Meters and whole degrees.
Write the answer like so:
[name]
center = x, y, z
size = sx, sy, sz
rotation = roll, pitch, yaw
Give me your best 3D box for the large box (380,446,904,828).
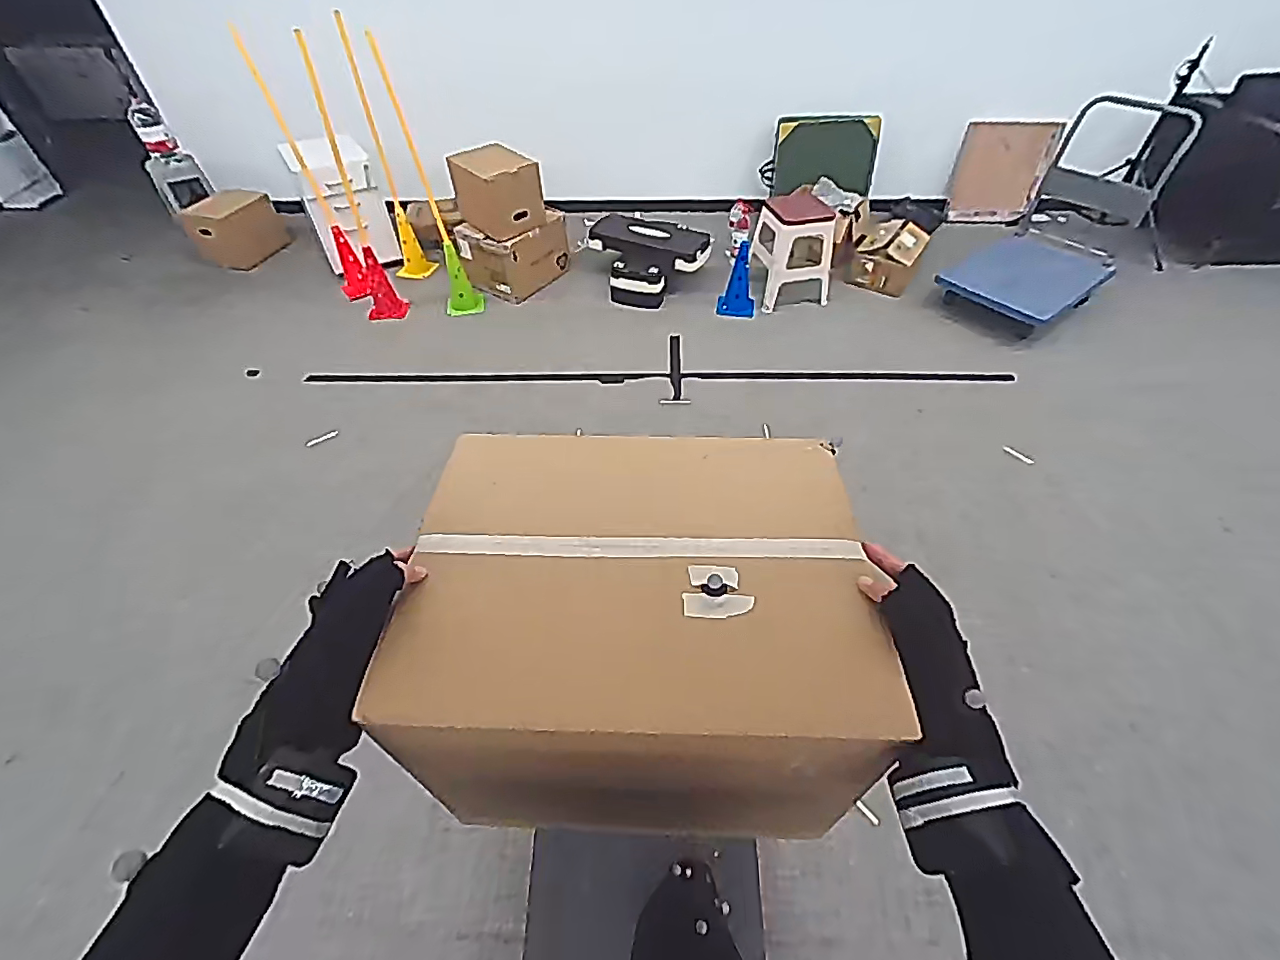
[large box]
center = 0.003, 0.176, 0.612
size = 0.408, 0.320, 0.320
rotation = 1, 46, 2
